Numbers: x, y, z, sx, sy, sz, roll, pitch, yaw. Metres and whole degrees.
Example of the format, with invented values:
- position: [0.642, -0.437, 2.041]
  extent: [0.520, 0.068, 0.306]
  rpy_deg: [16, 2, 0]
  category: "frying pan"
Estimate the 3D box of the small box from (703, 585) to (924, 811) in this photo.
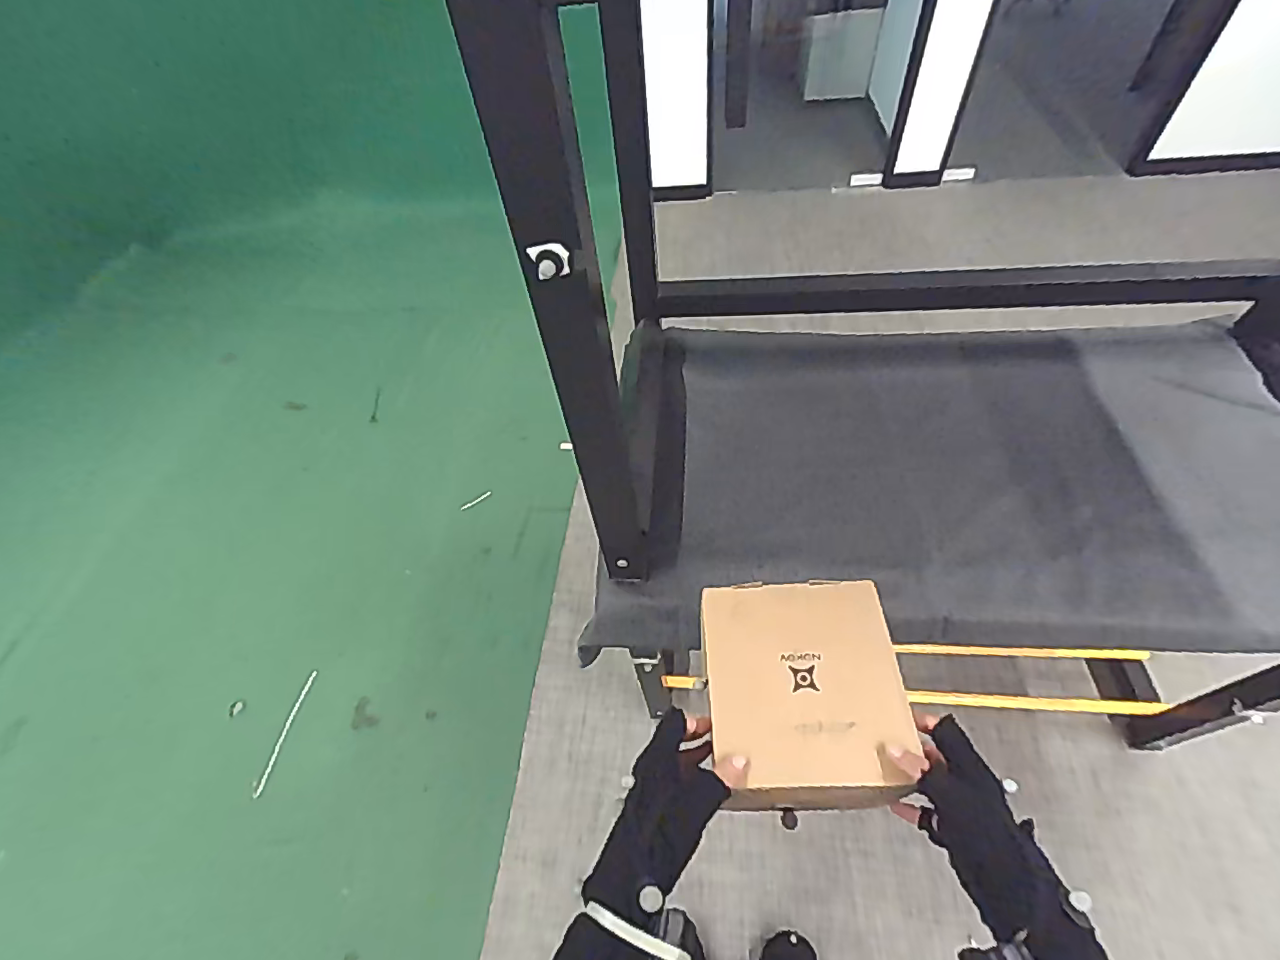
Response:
- position: [0.151, 0.224, 0.546]
  extent: [0.168, 0.176, 0.179]
  rpy_deg: [-4, 54, 4]
  category: "small box"
